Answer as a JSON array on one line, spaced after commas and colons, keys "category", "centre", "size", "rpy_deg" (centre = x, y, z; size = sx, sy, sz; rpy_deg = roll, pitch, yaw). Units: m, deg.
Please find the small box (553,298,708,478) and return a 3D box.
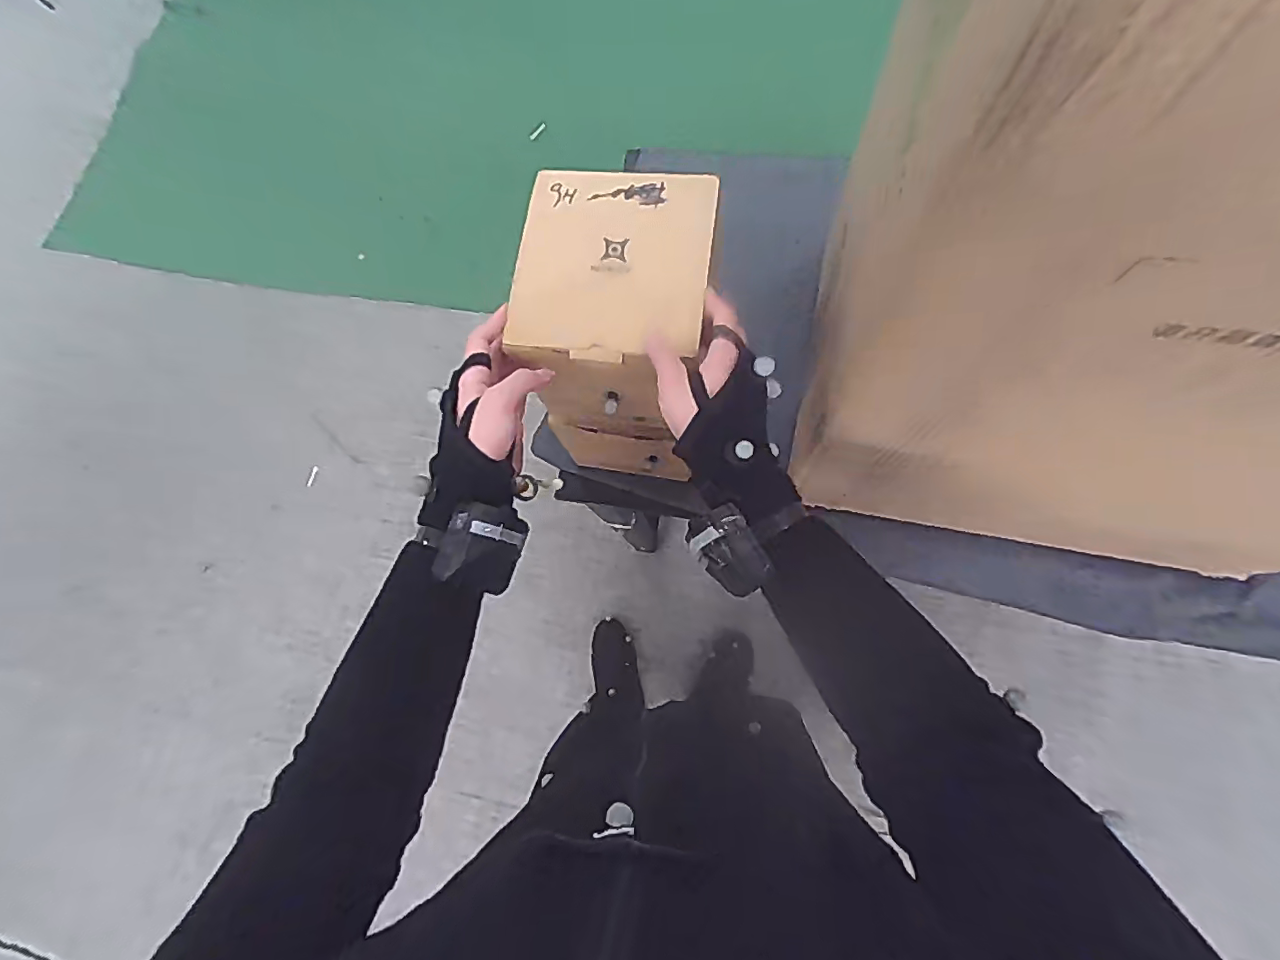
[{"category": "small box", "centre": [-0.003, -0.112, 0.717], "size": [0.168, 0.176, 0.179], "rpy_deg": [7, 74, 6]}]
